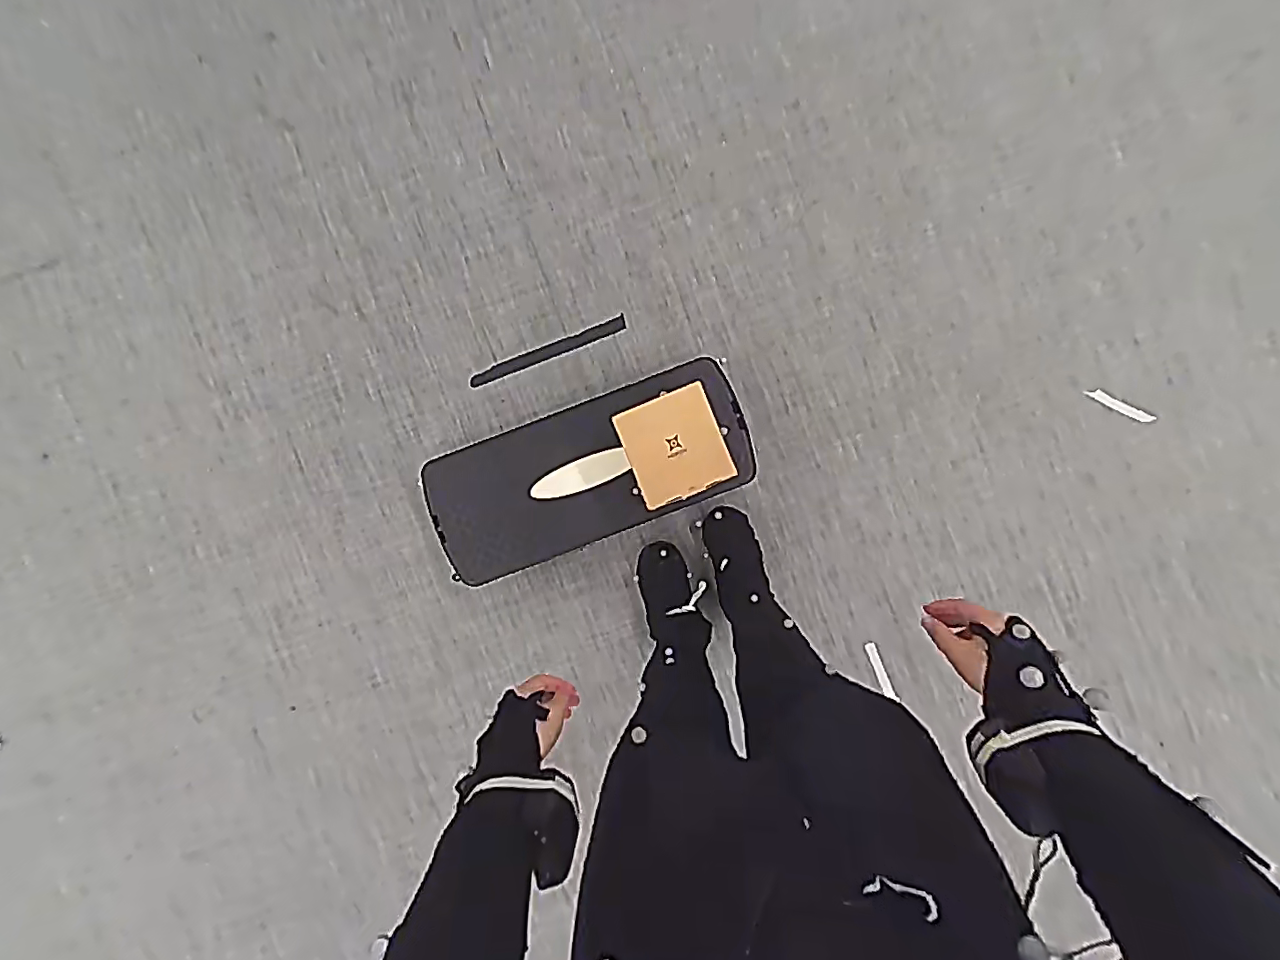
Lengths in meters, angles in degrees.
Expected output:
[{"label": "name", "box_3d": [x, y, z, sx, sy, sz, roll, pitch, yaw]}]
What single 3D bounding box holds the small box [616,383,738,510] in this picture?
[{"label": "small box", "box_3d": [0.061, -0.057, 1.001, 0.168, 0.176, 0.179, -23, 91, 0]}]
